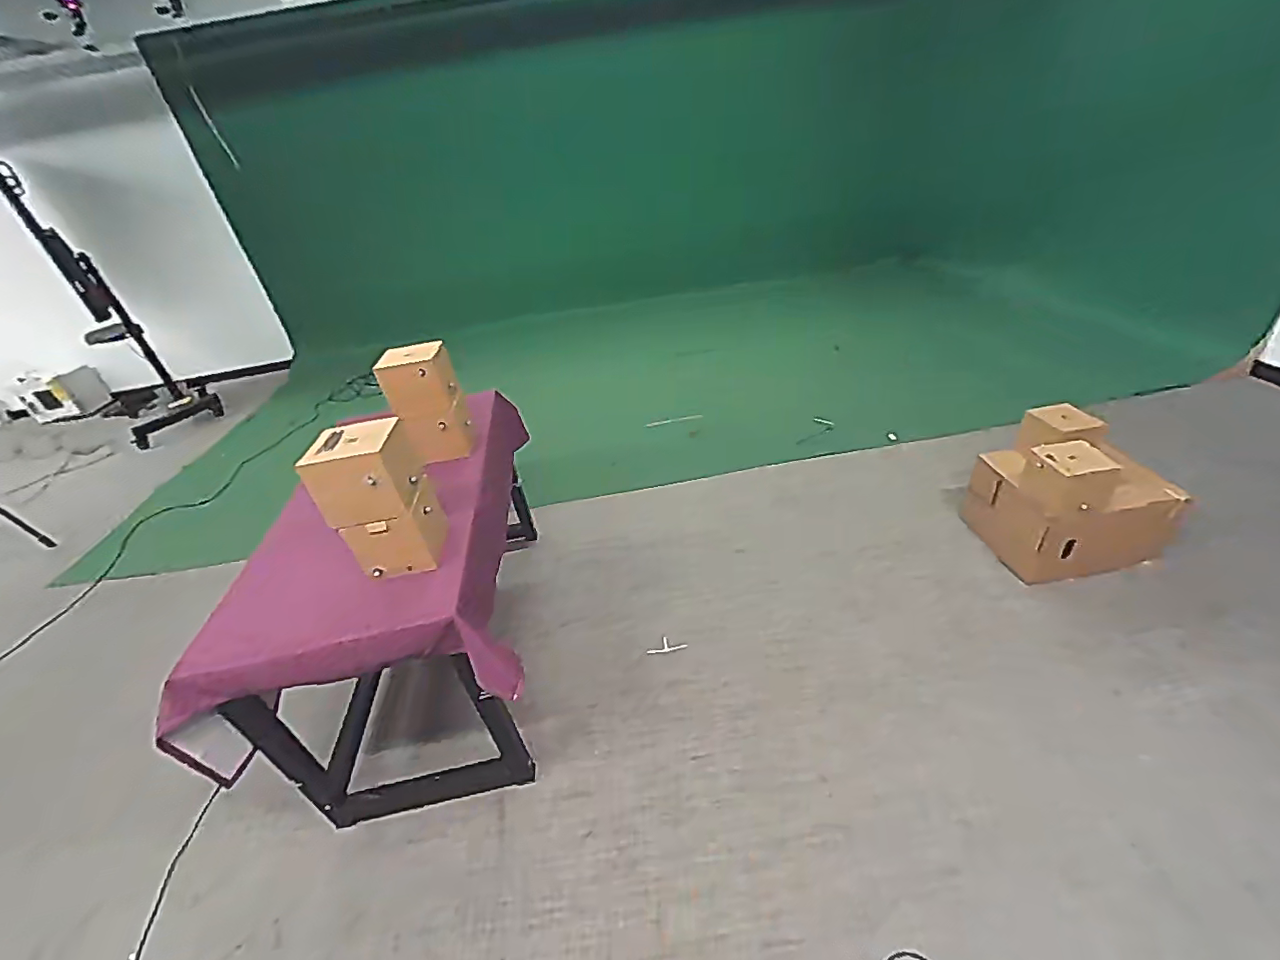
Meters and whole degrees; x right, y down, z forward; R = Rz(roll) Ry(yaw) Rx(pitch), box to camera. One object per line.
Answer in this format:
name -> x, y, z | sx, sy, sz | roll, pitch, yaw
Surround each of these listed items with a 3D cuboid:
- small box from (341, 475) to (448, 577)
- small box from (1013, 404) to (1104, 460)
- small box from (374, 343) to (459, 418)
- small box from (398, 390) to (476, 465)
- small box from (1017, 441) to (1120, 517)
small box -> -0.583, 0.116, 1.311 | 0.168, 0.176, 0.179 | -11, 33, -2
small box -> 1.476, -0.148, 1.918 | 0.168, 0.176, 0.179 | -9, 32, -3
small box -> -0.677, -0.303, 1.659 | 0.179, 0.176, 0.168 | -10, 34, -1
small box -> -0.645, -0.168, 1.746 | 0.179, 0.176, 0.168 | -11, 33, -1
small box -> 1.354, -0.001, 1.723 | 0.179, 0.176, 0.168 | -8, 34, 0
